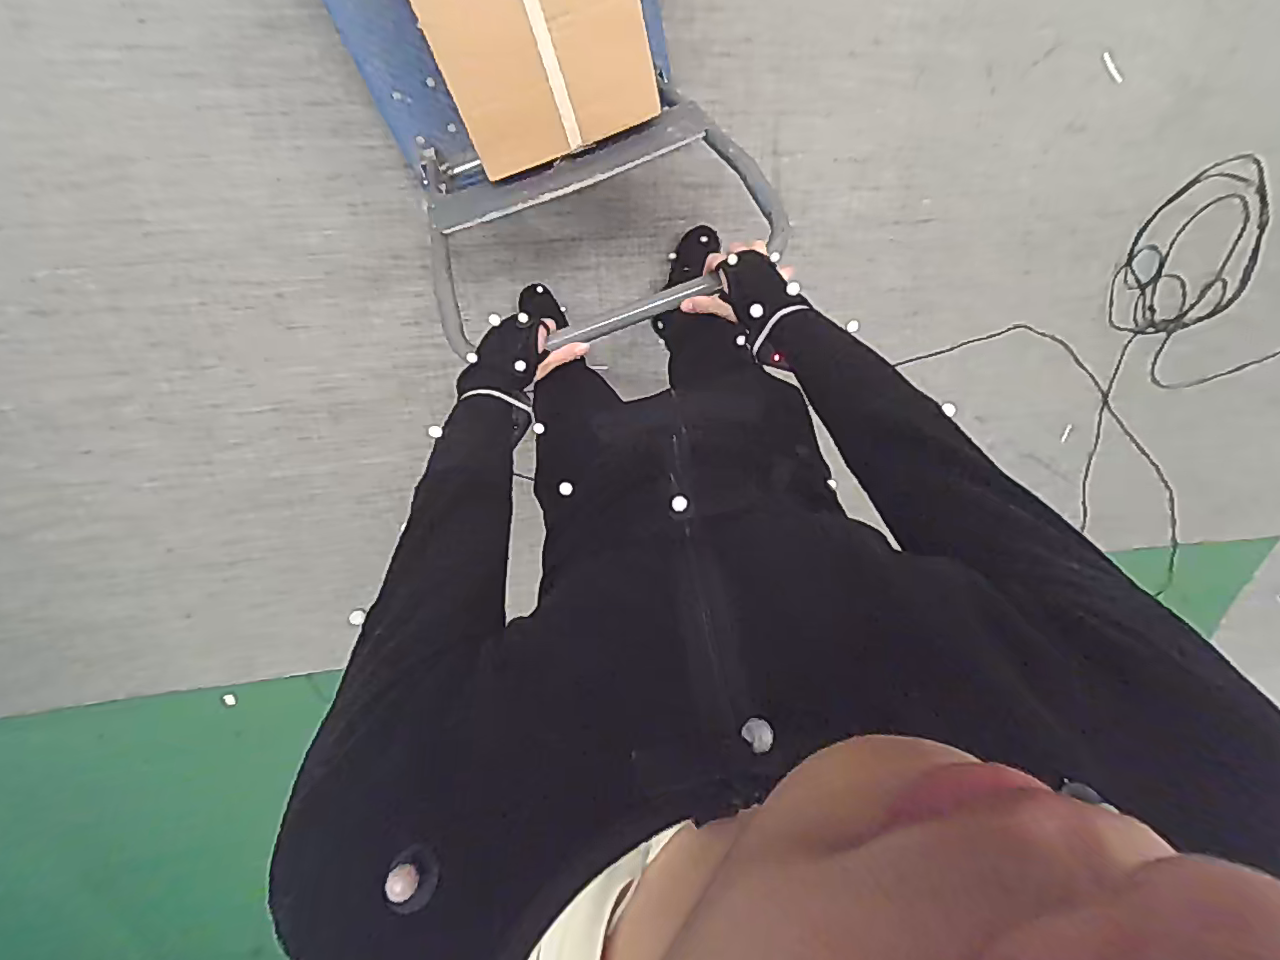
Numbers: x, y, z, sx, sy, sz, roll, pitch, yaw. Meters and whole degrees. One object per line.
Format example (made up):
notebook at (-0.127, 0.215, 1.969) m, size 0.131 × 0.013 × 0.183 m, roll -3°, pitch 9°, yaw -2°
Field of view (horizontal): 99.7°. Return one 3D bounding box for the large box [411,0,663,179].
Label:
large box at (-0.189, -0.778, 0.856) m, size 0.320 × 0.320 × 0.408 m, roll -21°, pitch 136°, yaw 1°
